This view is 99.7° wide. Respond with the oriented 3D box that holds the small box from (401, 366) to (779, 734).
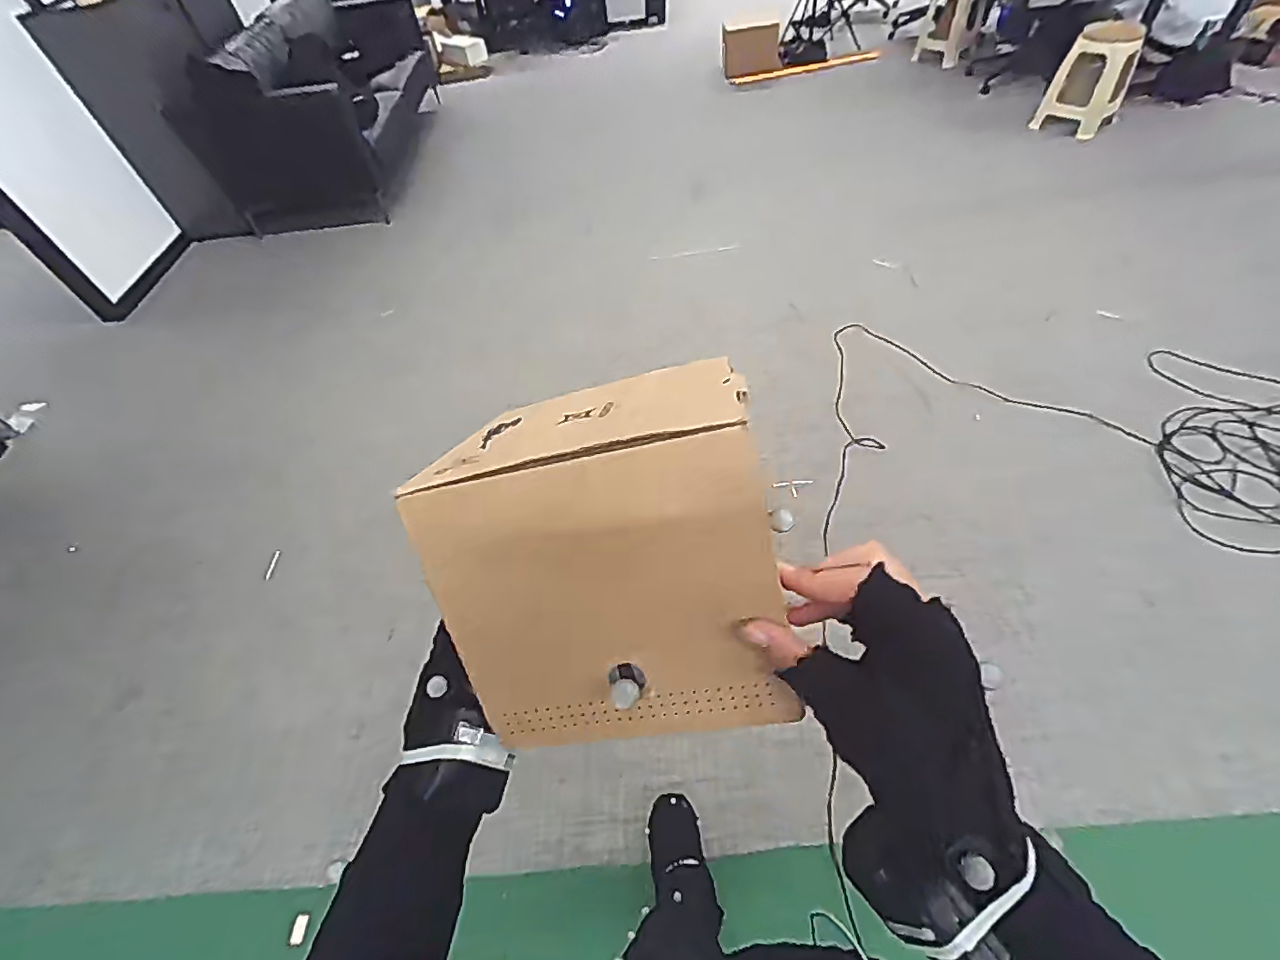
[{"bbox_3d":[-0.010,0.038,0.357,0.179,0.176,0.168,-11,19,12],"label":"small box"}]
